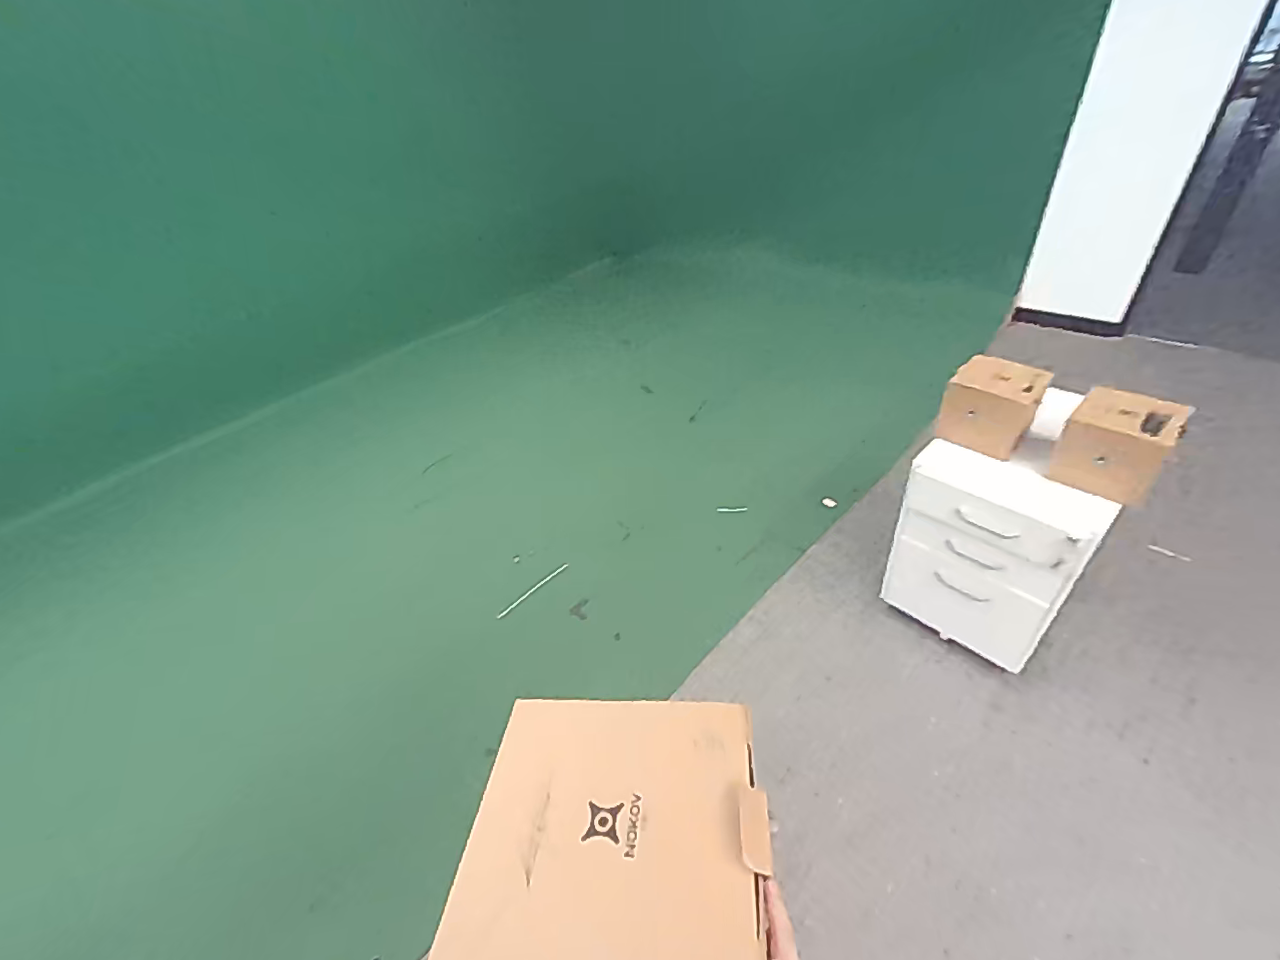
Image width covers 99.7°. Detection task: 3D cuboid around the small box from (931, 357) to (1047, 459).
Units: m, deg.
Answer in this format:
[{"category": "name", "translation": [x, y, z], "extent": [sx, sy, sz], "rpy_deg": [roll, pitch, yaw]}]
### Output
[{"category": "small box", "translation": [0.853, -0.176, 1.338], "extent": [0.168, 0.176, 0.179], "rpy_deg": [-37, 48, -28]}]

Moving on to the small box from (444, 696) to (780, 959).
[{"category": "small box", "translation": [0.002, 0.274, 0.375], "extent": [0.179, 0.176, 0.168], "rpy_deg": [-4, 33, 11]}]
